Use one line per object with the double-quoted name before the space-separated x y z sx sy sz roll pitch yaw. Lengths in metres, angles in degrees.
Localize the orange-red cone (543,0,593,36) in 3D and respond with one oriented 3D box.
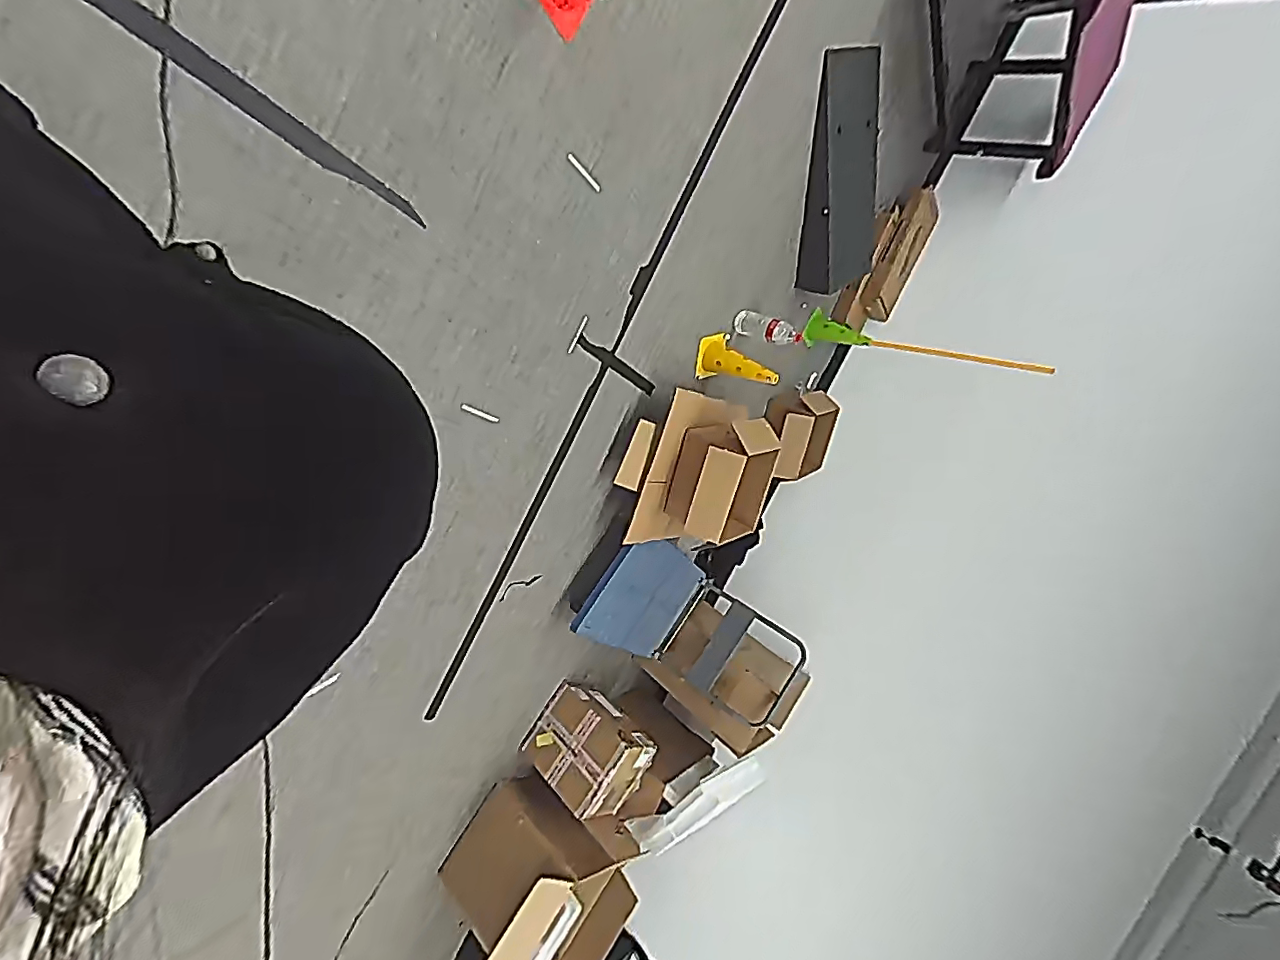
"orange-red cone" -0.063 -1.192 1.242 0.198 0.360 0.199 -61 146 1
